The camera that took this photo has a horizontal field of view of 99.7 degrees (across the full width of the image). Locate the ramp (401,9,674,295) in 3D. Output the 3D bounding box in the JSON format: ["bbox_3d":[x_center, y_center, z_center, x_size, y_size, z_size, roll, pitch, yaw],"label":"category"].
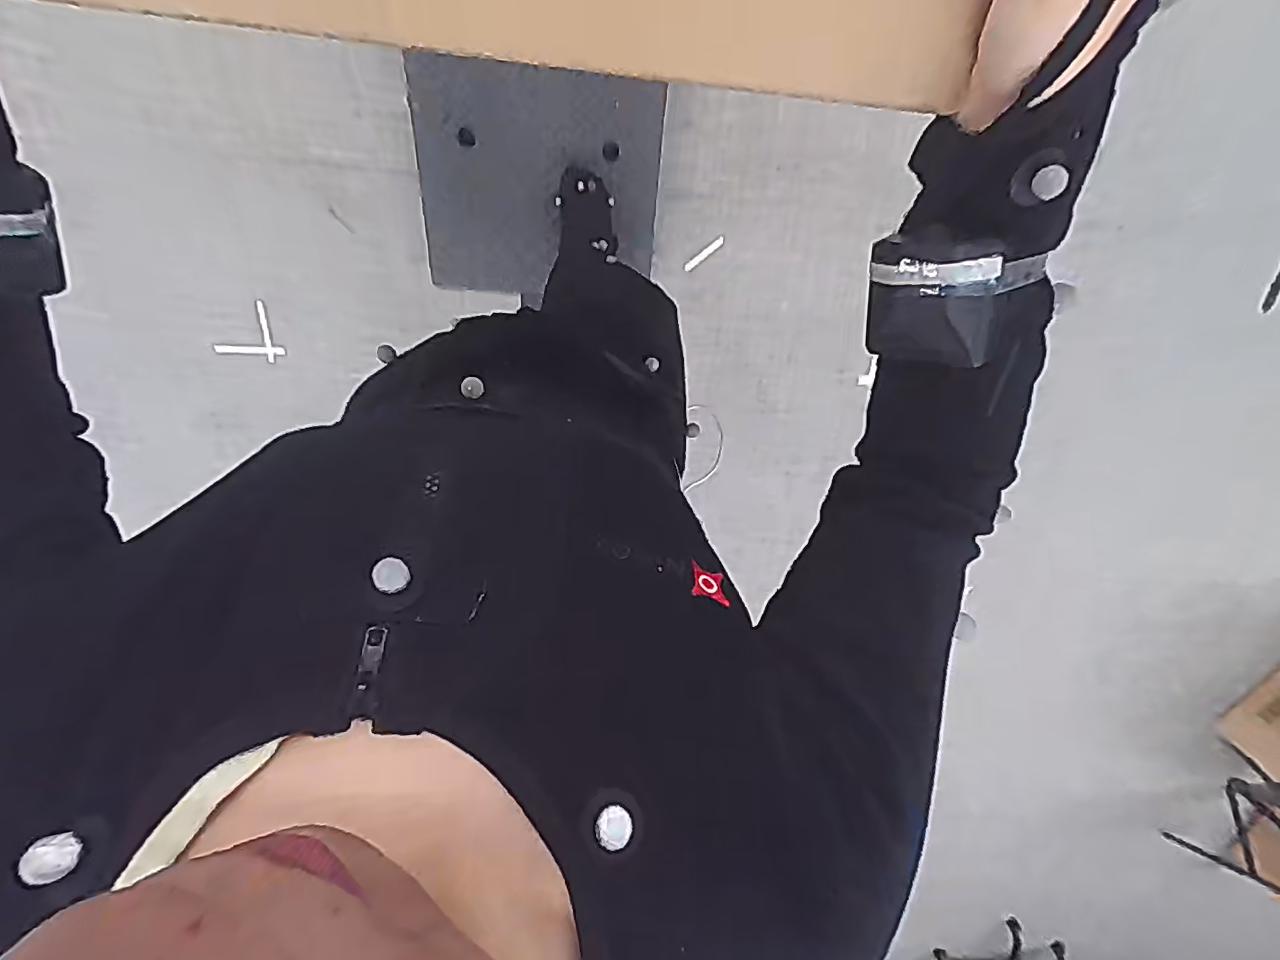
[{"bbox_3d":[-0.175,-0.848,0.961,0.509,0.206,0.991,1,115,-5],"label":"ramp"}]
